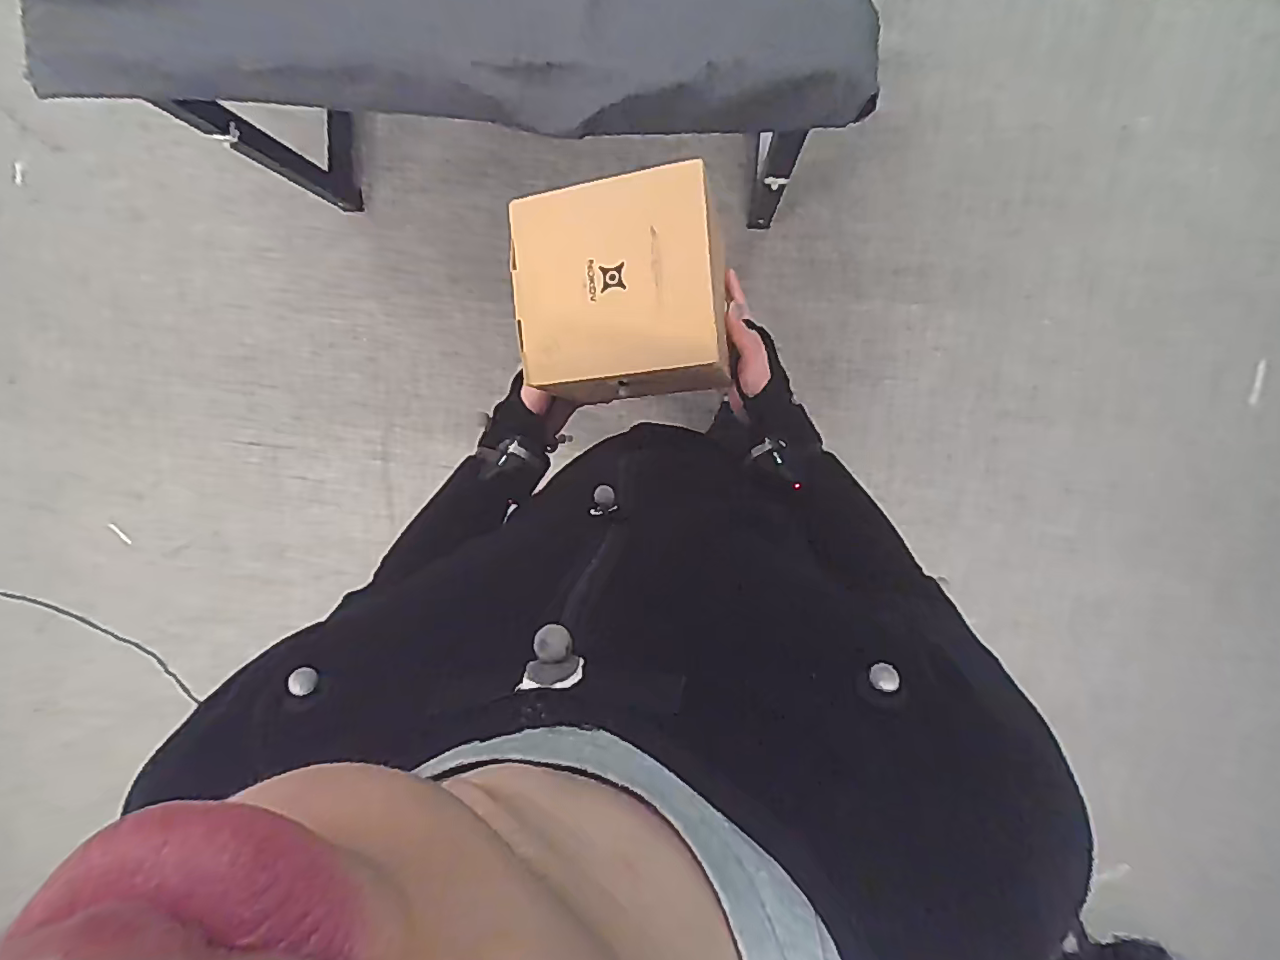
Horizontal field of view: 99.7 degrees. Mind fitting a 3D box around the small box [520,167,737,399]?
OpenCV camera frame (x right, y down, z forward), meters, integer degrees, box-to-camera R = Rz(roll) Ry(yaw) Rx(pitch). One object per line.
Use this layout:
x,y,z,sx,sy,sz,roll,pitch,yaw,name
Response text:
0.000,-0.177,0.547,0.179,0.176,0.168,-4,93,13,small box
